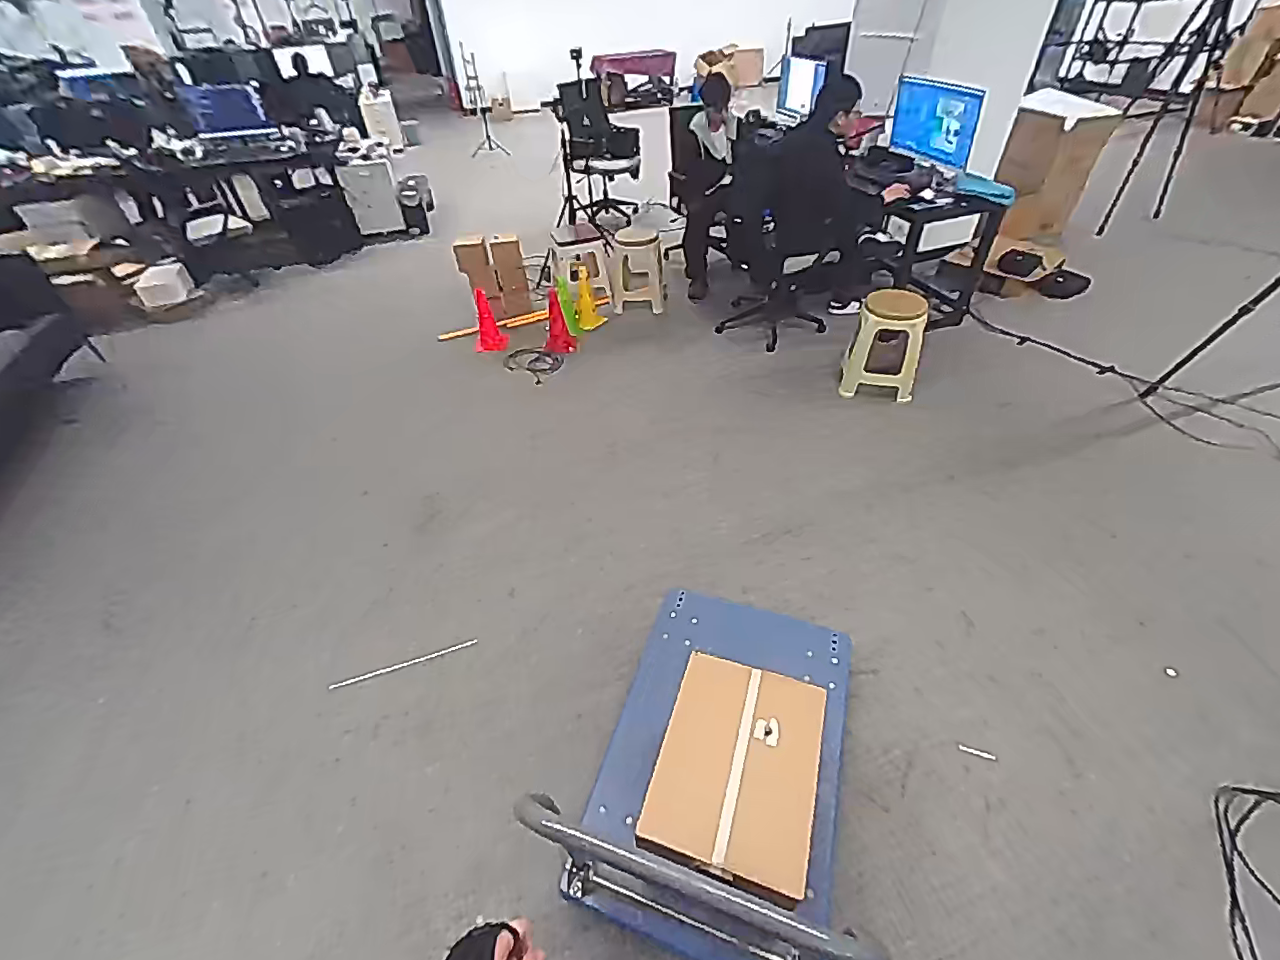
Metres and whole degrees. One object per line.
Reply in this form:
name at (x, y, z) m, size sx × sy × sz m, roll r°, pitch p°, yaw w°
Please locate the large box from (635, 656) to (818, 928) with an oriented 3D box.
large box at (0.200, 0.689, 1.222) m, size 0.320 × 0.320 × 0.408 m, roll 13°, pitch 44°, yaw 16°
